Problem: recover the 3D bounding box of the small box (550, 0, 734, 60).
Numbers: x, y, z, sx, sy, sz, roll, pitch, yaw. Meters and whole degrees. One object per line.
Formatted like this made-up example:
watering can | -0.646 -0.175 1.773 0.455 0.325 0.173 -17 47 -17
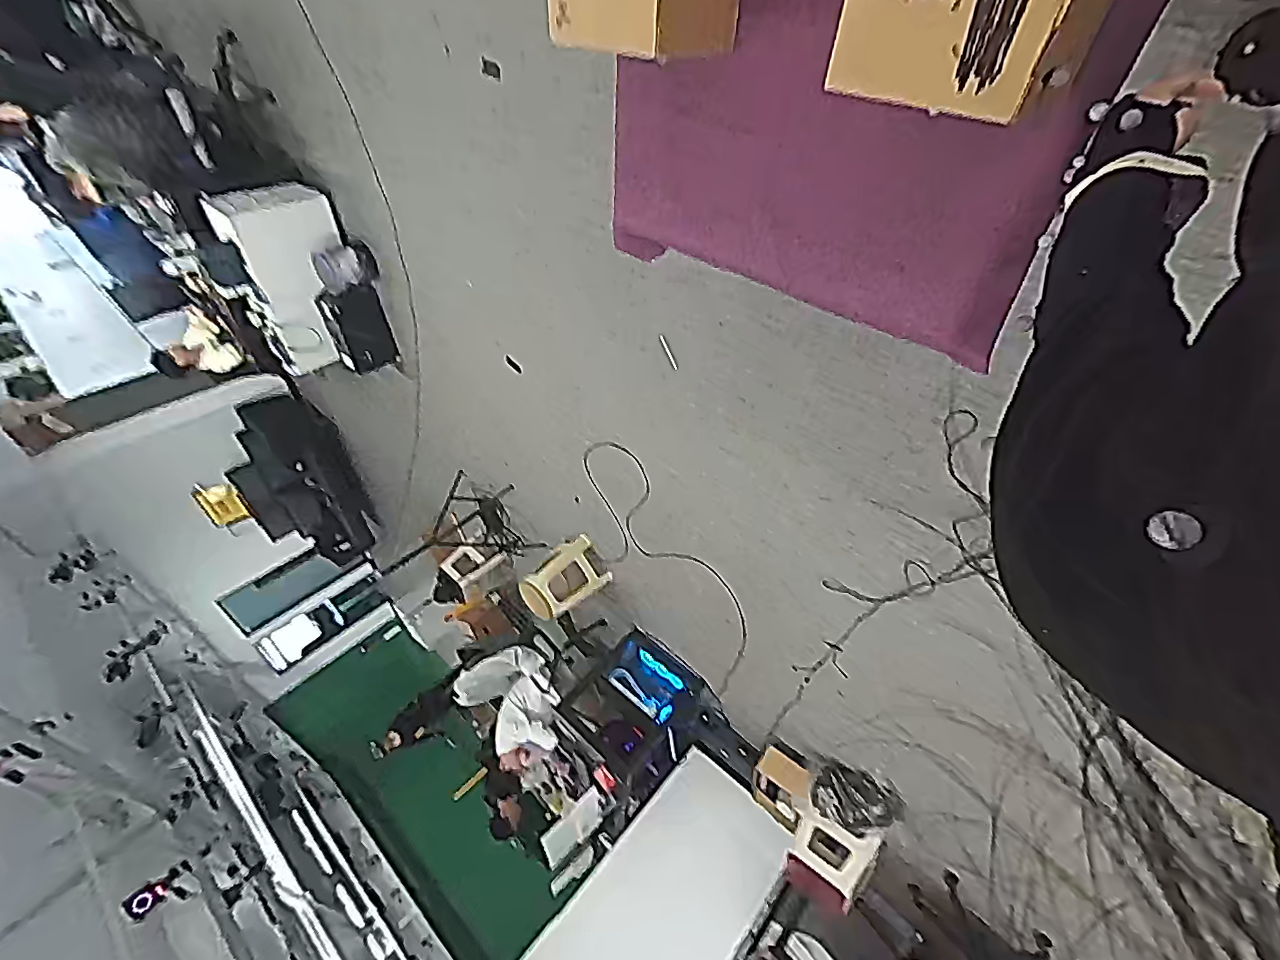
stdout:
small box | 0.009 -0.620 0.643 0.179 0.176 0.168 31 140 26
